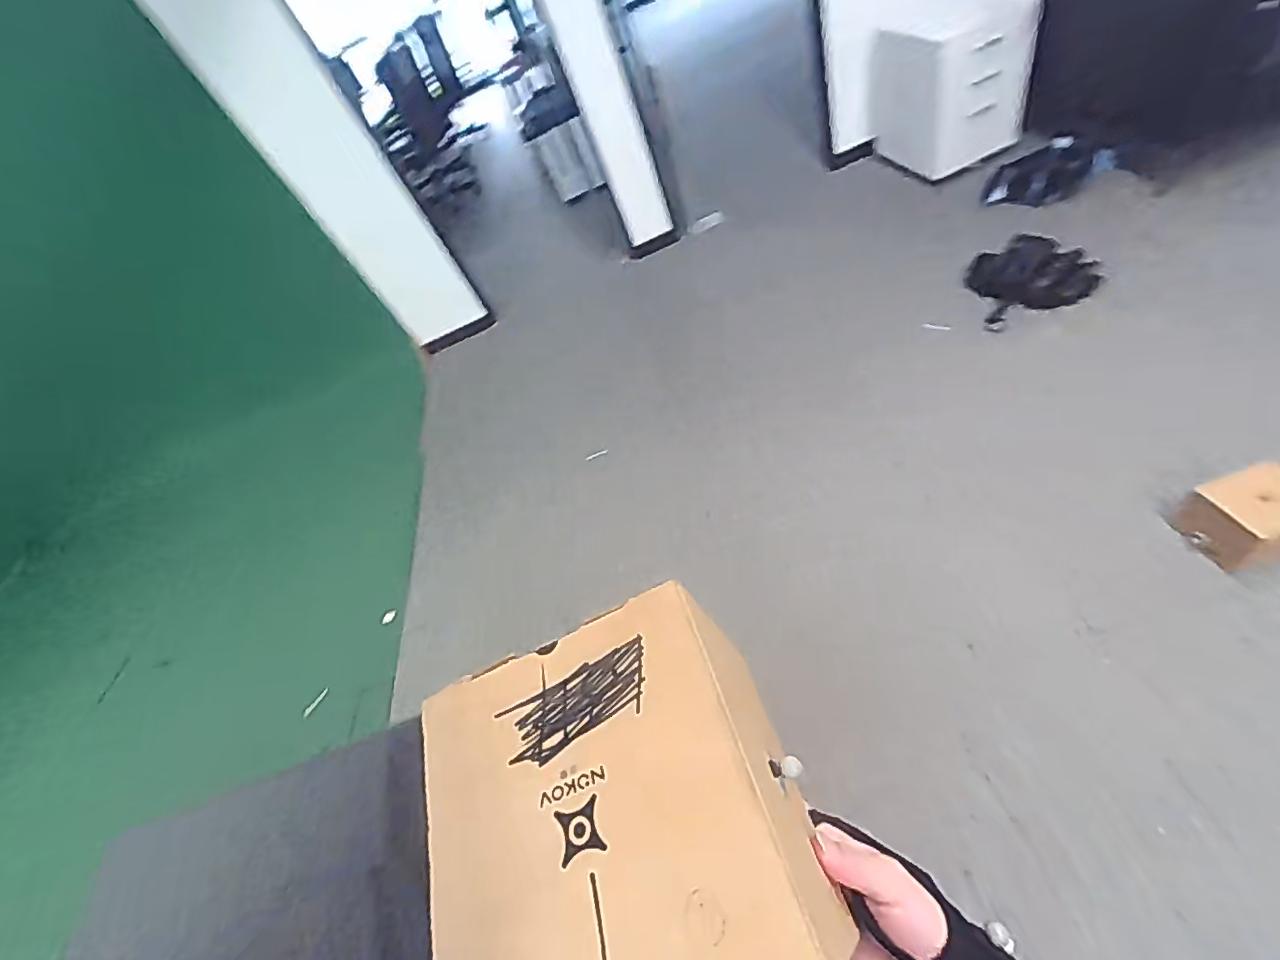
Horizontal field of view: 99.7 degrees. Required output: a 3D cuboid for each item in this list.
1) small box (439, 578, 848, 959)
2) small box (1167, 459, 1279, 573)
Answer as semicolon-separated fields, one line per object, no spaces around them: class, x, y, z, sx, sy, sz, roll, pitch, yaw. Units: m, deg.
small box;0.004;0.193;0.321;0.168;0.176;0.179;-26;51;7
small box;1.414;0.087;1.271;0.179;0.176;0.168;-25;45;6
